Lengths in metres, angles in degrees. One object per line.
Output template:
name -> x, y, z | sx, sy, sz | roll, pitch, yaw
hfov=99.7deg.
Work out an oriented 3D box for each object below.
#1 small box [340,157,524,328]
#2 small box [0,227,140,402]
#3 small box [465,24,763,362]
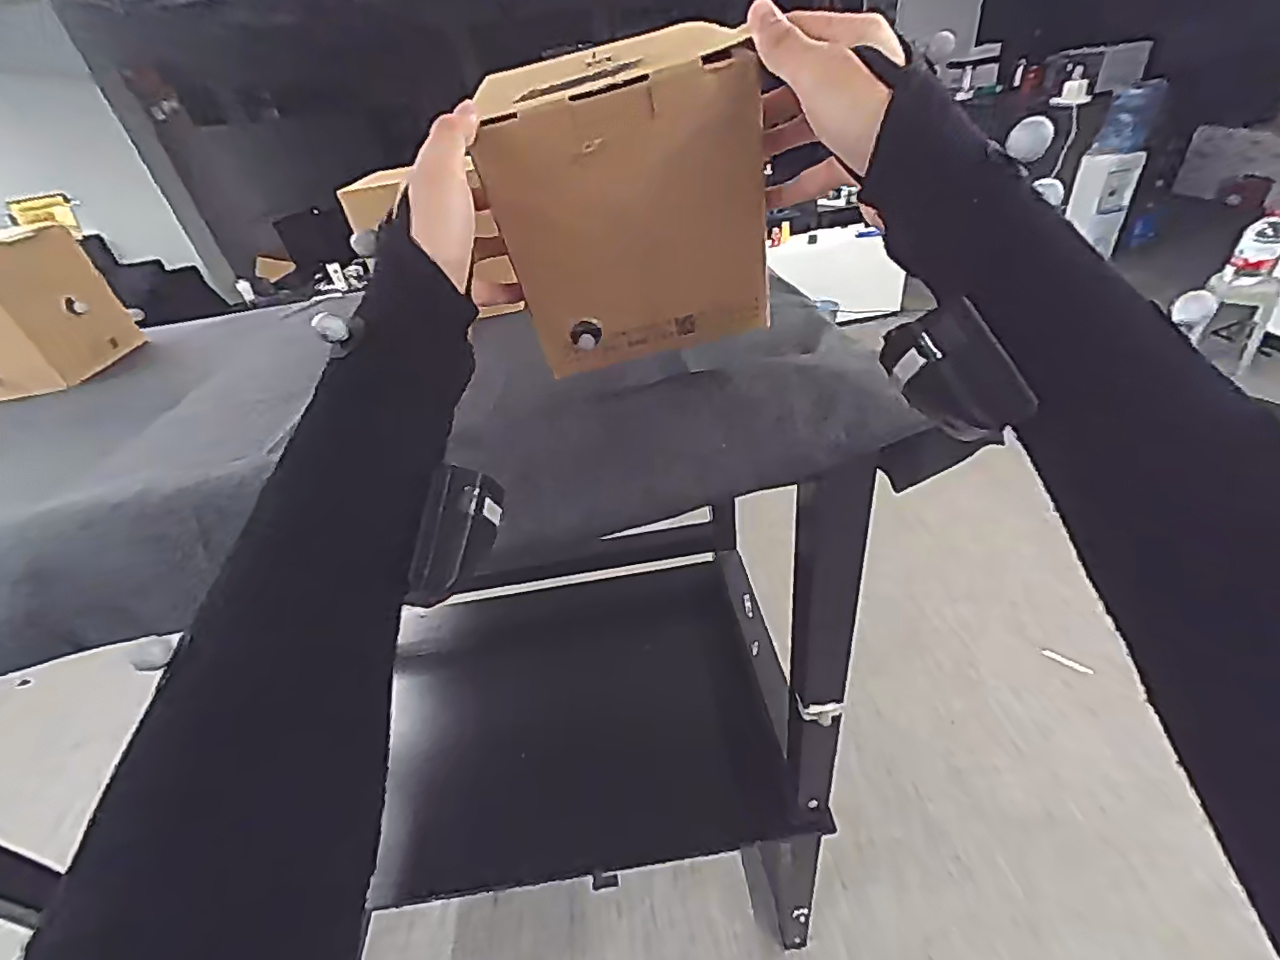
small box -> -0.251, -0.311, 0.711 | 0.168, 0.176, 0.179 | -11, 37, -1
small box -> -0.818, -0.206, 0.694 | 0.179, 0.176, 0.168 | -10, 37, -3
small box -> -0.010, -0.205, 0.403 | 0.168, 0.176, 0.179 | -13, 44, 3
